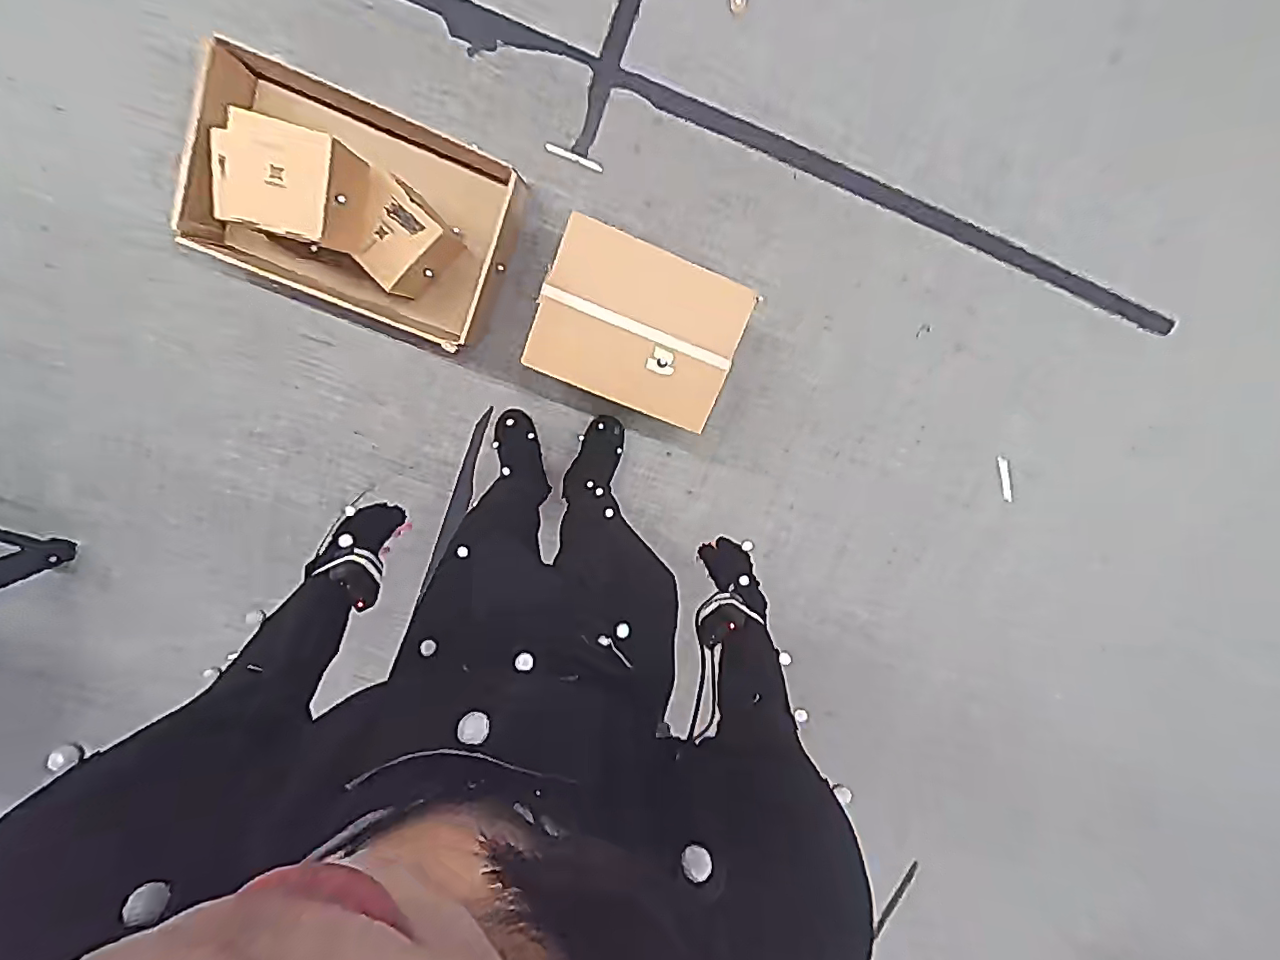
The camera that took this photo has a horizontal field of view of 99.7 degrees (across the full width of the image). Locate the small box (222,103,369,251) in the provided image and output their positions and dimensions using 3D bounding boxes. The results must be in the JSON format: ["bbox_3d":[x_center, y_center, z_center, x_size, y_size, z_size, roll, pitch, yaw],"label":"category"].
[{"bbox_3d":[-0.621,-0.539,0.991,0.168,0.176,0.179,13,102,-8],"label":"small box"}]

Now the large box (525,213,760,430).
[{"bbox_3d":[-0.009,-0.342,1.226,0.408,0.320,0.320,20,103,-9],"label":"large box"}]
